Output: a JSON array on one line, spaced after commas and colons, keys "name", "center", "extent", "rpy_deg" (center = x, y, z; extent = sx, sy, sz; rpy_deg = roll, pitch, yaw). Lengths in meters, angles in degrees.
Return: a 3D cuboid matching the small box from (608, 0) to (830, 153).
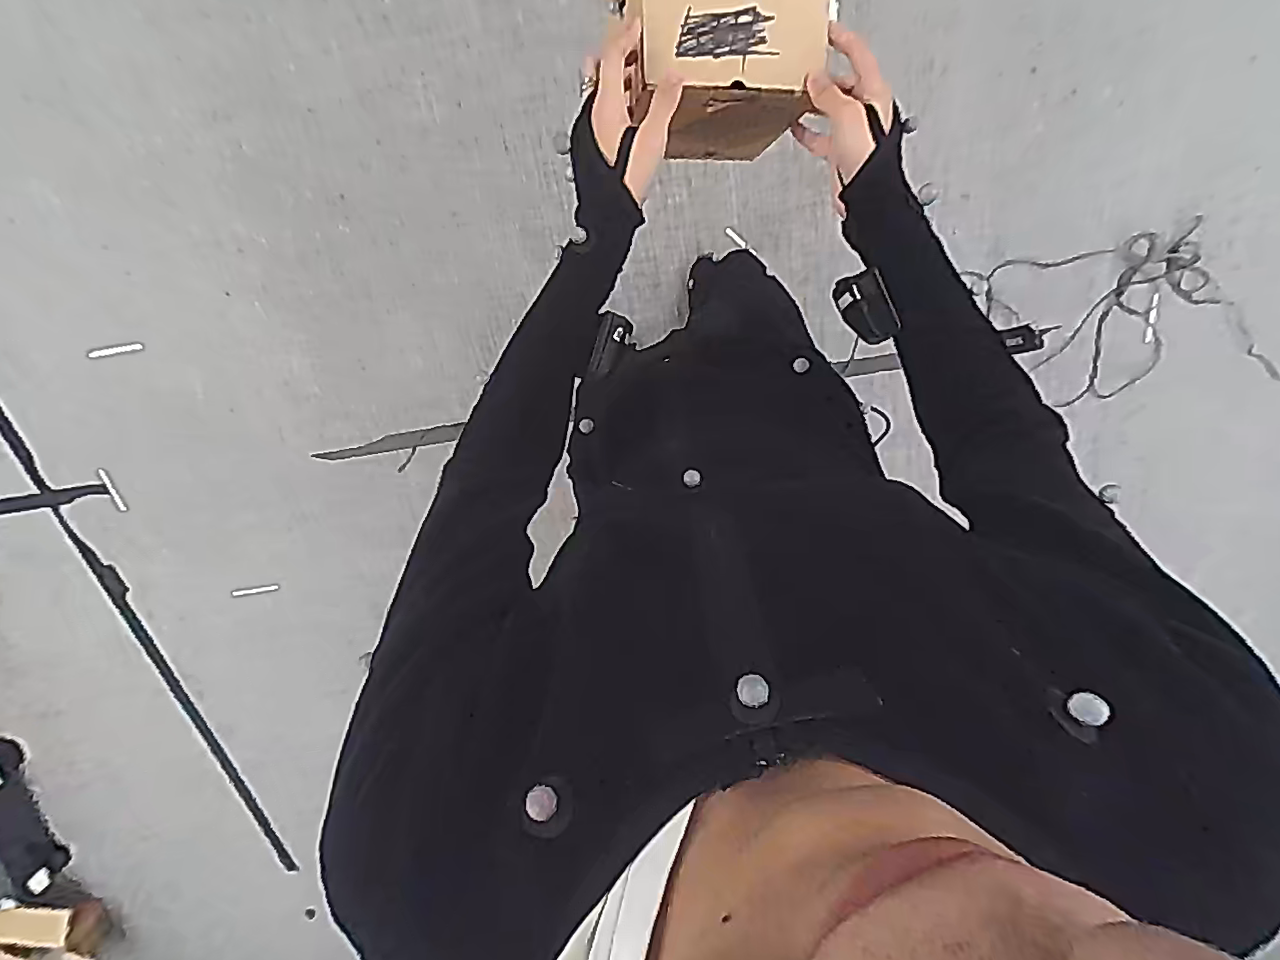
[{"name": "small box", "center": [0.063, -0.429, 0.507], "extent": [0.168, 0.176, 0.179], "rpy_deg": [-5, 103, -10]}]
